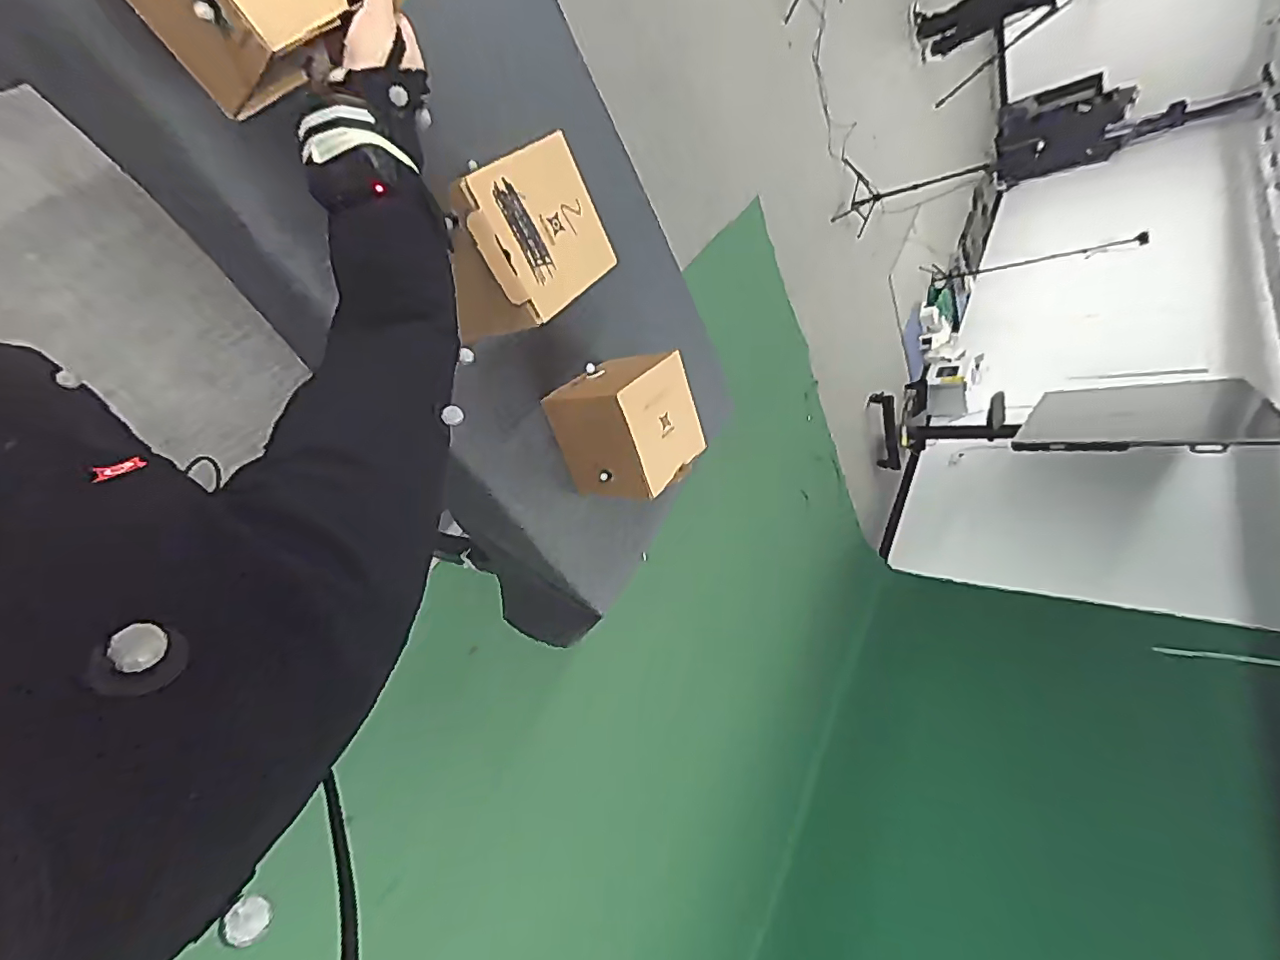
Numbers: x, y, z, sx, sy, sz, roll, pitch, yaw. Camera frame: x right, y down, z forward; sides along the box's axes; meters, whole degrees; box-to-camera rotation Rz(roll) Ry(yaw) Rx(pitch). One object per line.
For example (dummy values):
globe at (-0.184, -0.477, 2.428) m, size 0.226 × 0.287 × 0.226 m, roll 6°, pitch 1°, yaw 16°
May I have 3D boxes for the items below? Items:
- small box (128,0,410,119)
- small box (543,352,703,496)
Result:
small box at (-0.307, -0.422, 0.413) m, size 0.168 × 0.176 × 0.179 m, roll -55°, pitch 134°, yaw -21°
small box at (-0.026, -0.093, 0.885) m, size 0.168 × 0.176 × 0.179 m, roll -42°, pitch 122°, yaw -40°
